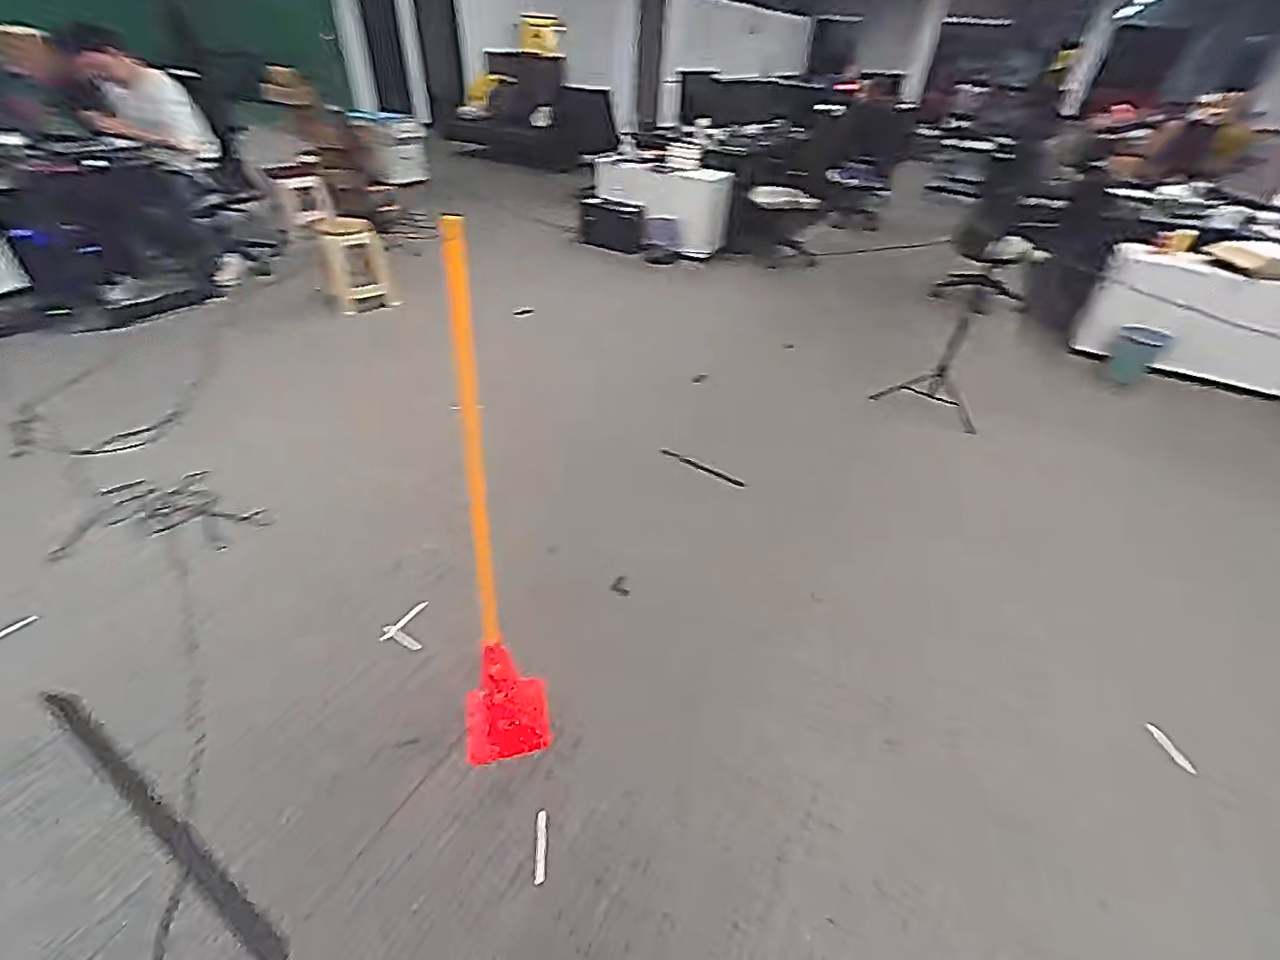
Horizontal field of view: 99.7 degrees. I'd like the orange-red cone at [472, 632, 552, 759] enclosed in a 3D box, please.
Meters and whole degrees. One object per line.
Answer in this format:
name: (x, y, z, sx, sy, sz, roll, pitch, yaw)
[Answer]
orange-red cone: (-0.326, 0.481, 1.291, 0.198, 0.360, 0.199, -7, 42, -12)
